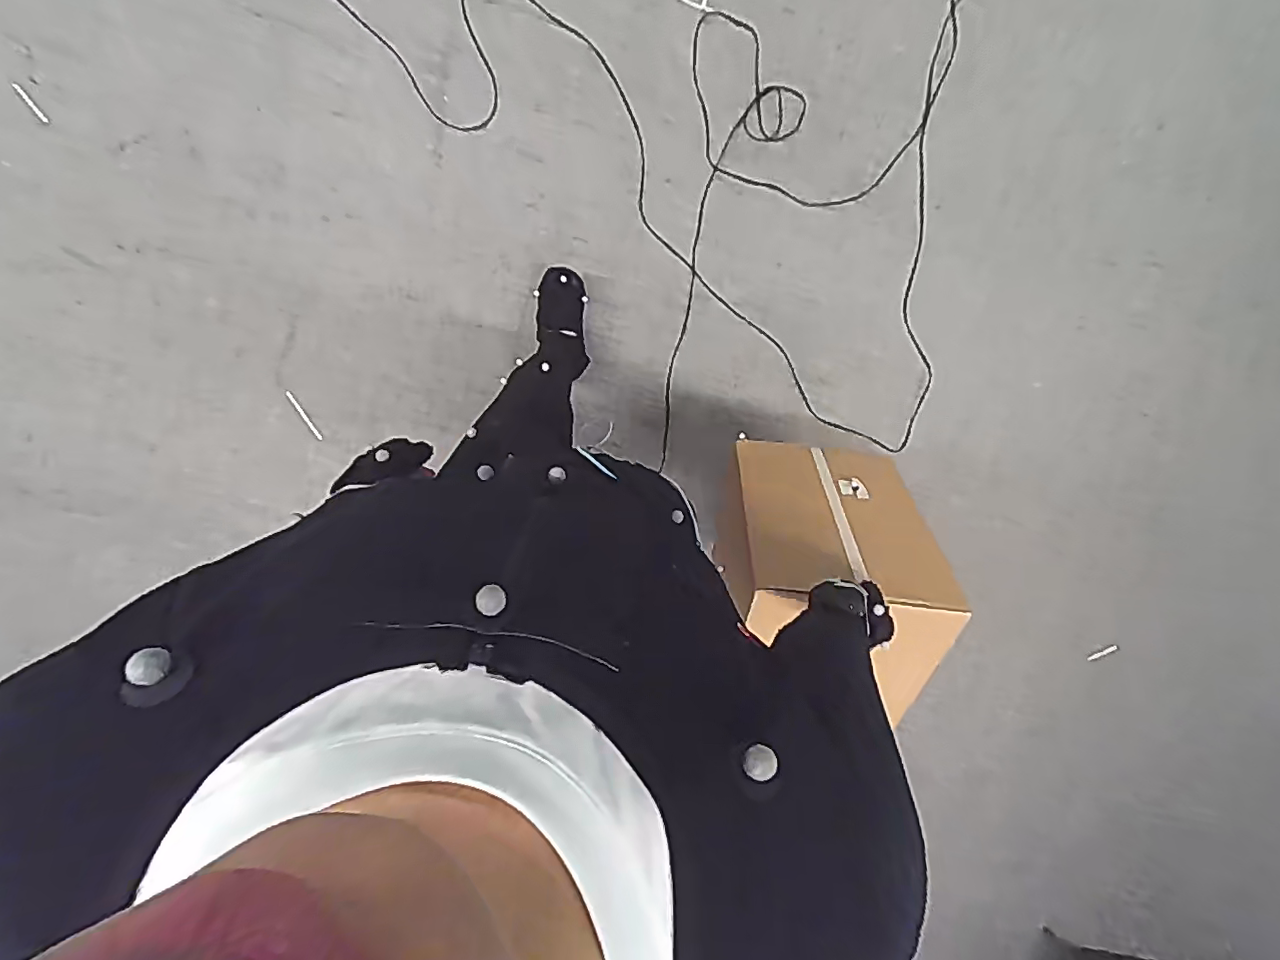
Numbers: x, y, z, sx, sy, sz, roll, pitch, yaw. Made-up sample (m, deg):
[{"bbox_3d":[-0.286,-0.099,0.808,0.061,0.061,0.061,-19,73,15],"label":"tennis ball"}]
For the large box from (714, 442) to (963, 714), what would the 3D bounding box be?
[{"bbox_3d":[0.321,0.172,1.027,0.320,0.408,0.320,7,126,0],"label":"large box"}]
